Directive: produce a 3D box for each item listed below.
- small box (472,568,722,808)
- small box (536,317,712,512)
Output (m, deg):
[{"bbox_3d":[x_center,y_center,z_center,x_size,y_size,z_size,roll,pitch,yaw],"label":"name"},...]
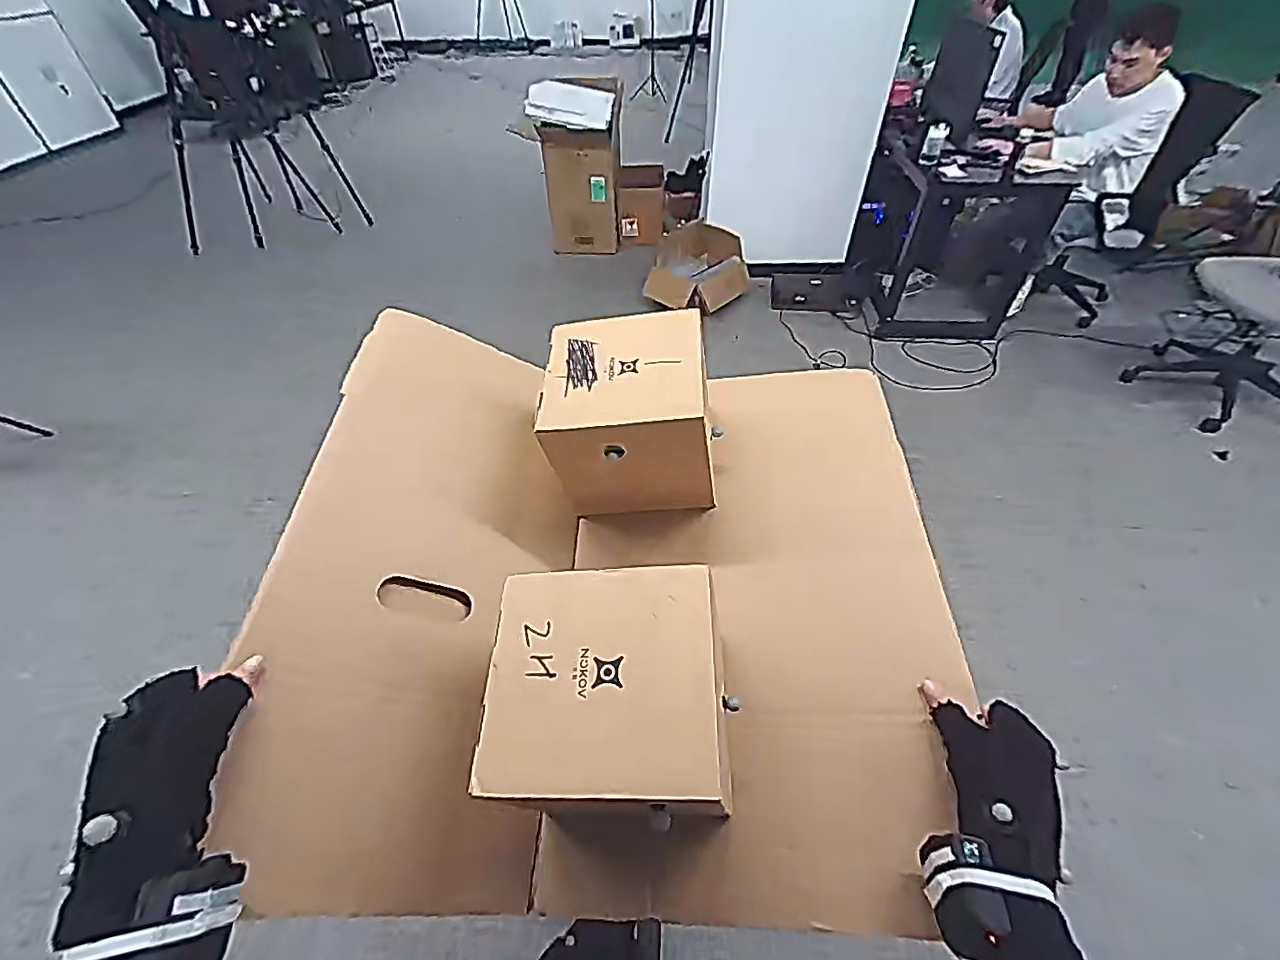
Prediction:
[{"bbox_3d":[-0.018,0.189,0.481,0.179,0.176,0.168,-4,55,10],"label":"small box"},{"bbox_3d":[-0.007,-0.072,0.661,0.179,0.176,0.168,-4,55,9],"label":"small box"}]
